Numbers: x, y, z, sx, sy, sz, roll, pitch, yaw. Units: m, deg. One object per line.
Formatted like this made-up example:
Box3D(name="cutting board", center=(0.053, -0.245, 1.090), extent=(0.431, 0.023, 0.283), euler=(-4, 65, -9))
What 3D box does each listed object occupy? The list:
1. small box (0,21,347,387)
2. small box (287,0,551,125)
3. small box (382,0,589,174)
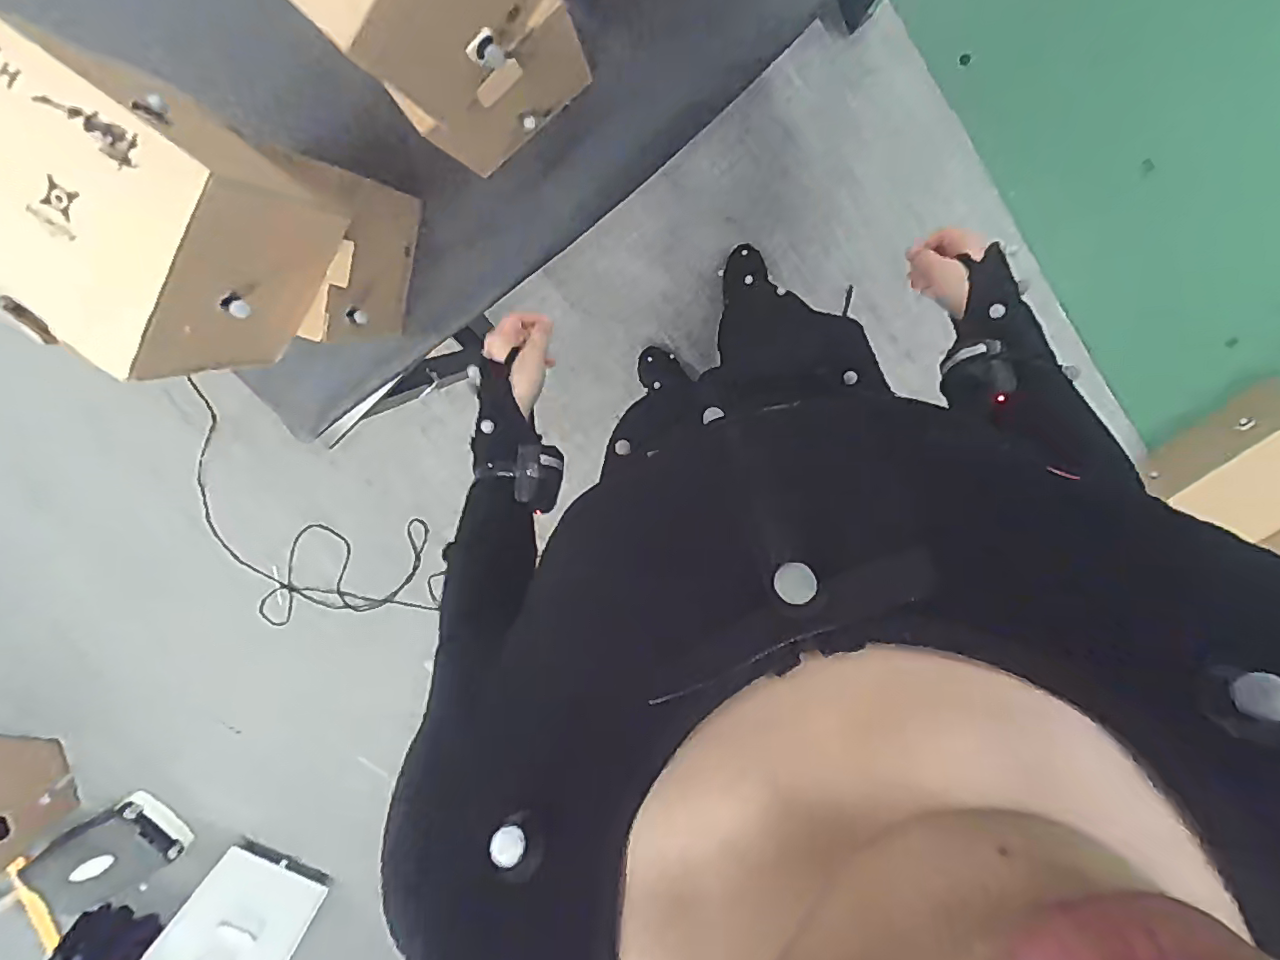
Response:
Box3D(name="small box", center=(-0.387, -0.205, 0.449), extent=(0.168, 0.176, 0.179), euler=(35, 108, -7))
Box3D(name="small box", center=(-0.181, -0.395, 0.375), extent=(0.179, 0.176, 0.168), euler=(41, 107, -9))
Box3D(name="small box", center=(-0.173, -0.442, 0.531), extent=(0.168, 0.176, 0.179), euler=(-35, 102, 15))
